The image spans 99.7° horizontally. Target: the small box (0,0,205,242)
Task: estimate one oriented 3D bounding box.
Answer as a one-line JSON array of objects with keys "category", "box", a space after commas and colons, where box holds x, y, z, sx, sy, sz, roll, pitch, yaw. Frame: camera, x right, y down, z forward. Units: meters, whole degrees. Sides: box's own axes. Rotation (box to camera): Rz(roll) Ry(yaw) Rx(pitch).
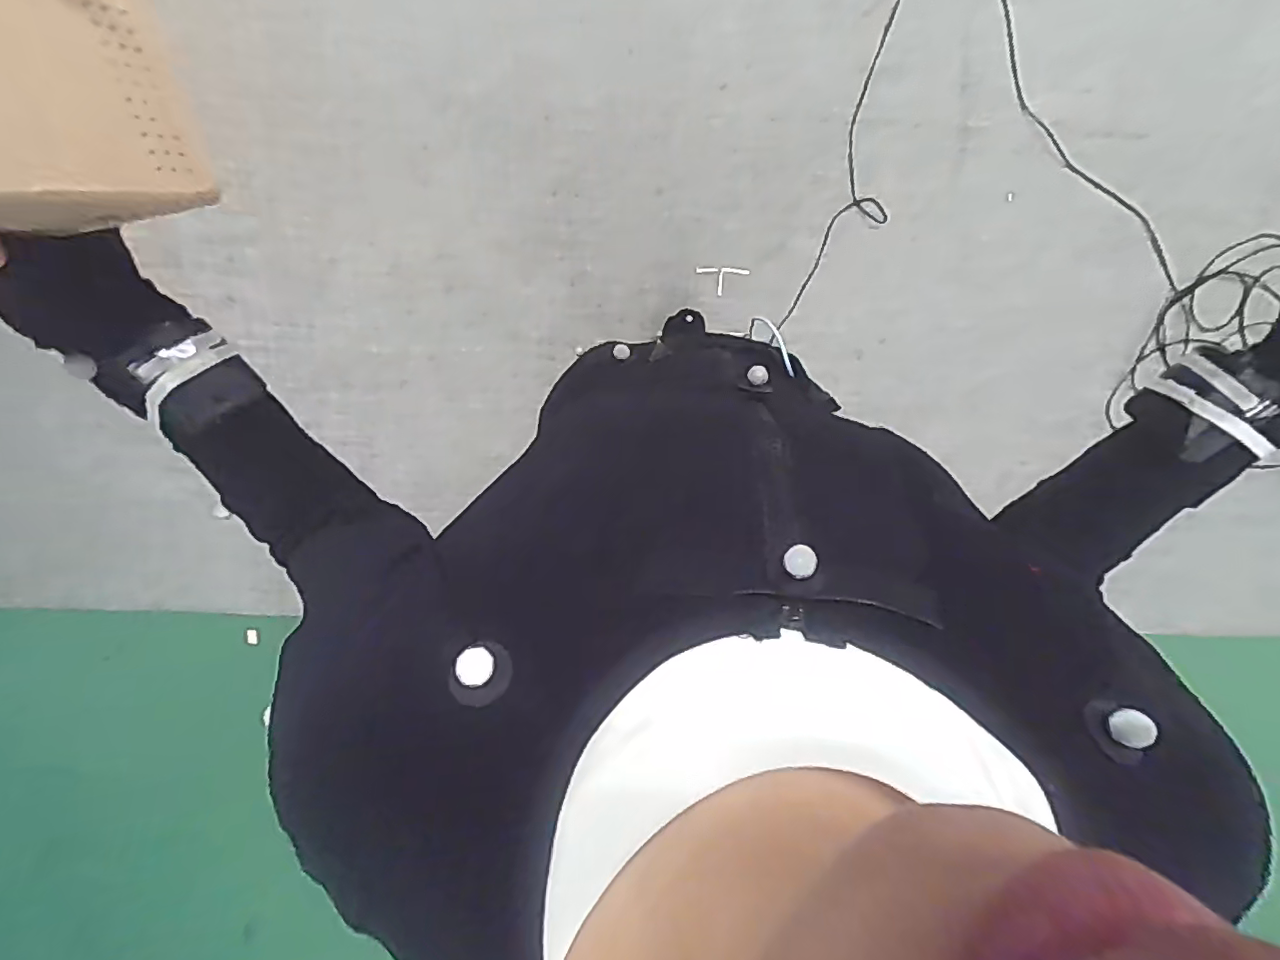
[{"category": "small box", "box": [-0.312, -0.179, 0.183, 0.168, 0.176, 0.179, 3, 117, 21]}]
